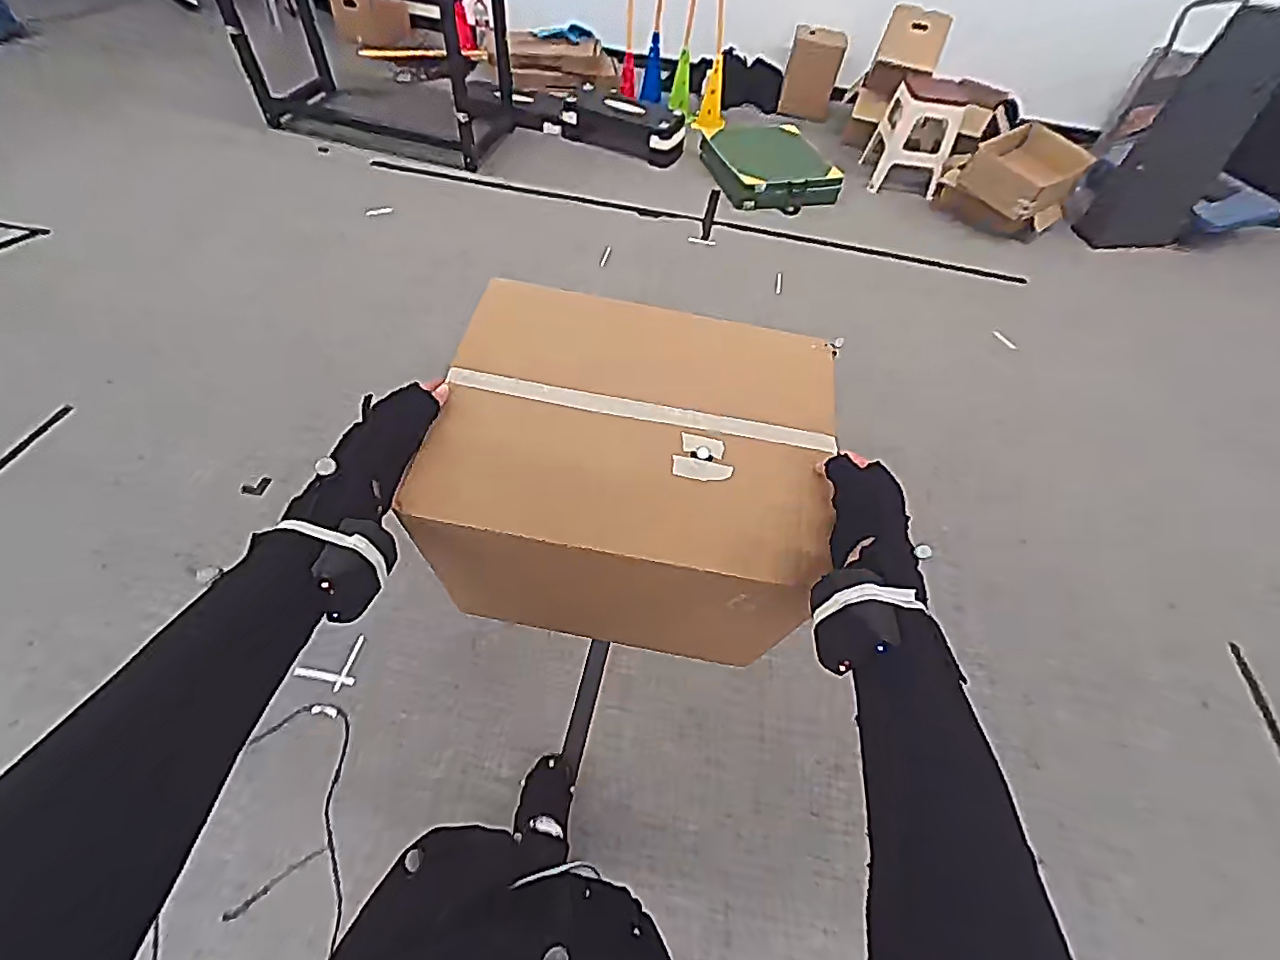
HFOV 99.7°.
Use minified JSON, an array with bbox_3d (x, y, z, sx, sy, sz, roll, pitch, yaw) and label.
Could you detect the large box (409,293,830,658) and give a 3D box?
[{"bbox_3d":[-0.014,0.012,0.699,0.408,0.320,0.320,11,60,0],"label":"large box"}]
